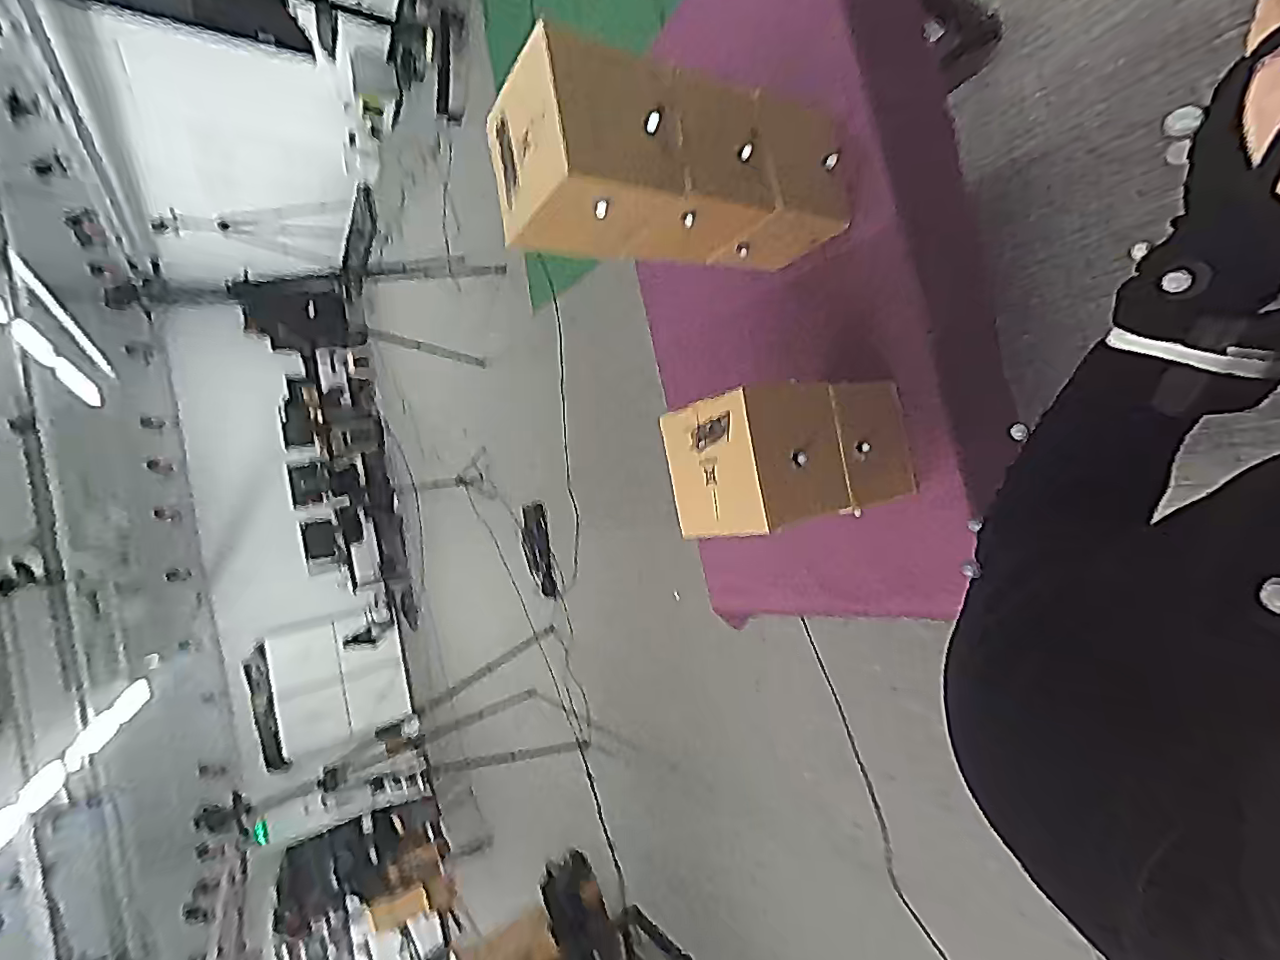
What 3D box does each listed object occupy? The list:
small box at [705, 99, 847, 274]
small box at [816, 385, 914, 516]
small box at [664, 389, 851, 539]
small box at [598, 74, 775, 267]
[{"bbox_3d":[0.202,-0.451,0.865,0.168,0.176,0.179,-14,86,56],"label":"small box"},{"bbox_3d":[0.296,-0.042,0.837,0.168,0.176,0.179,-12,88,55],"label":"small box"},{"bbox_3d":[0.161,-0.023,0.746,0.168,0.176,0.179,-13,89,55],"label":"small box"},{"bbox_3d":[0.064,-0.424,0.781,0.179,0.176,0.168,-13,88,54],"label":"small box"}]
